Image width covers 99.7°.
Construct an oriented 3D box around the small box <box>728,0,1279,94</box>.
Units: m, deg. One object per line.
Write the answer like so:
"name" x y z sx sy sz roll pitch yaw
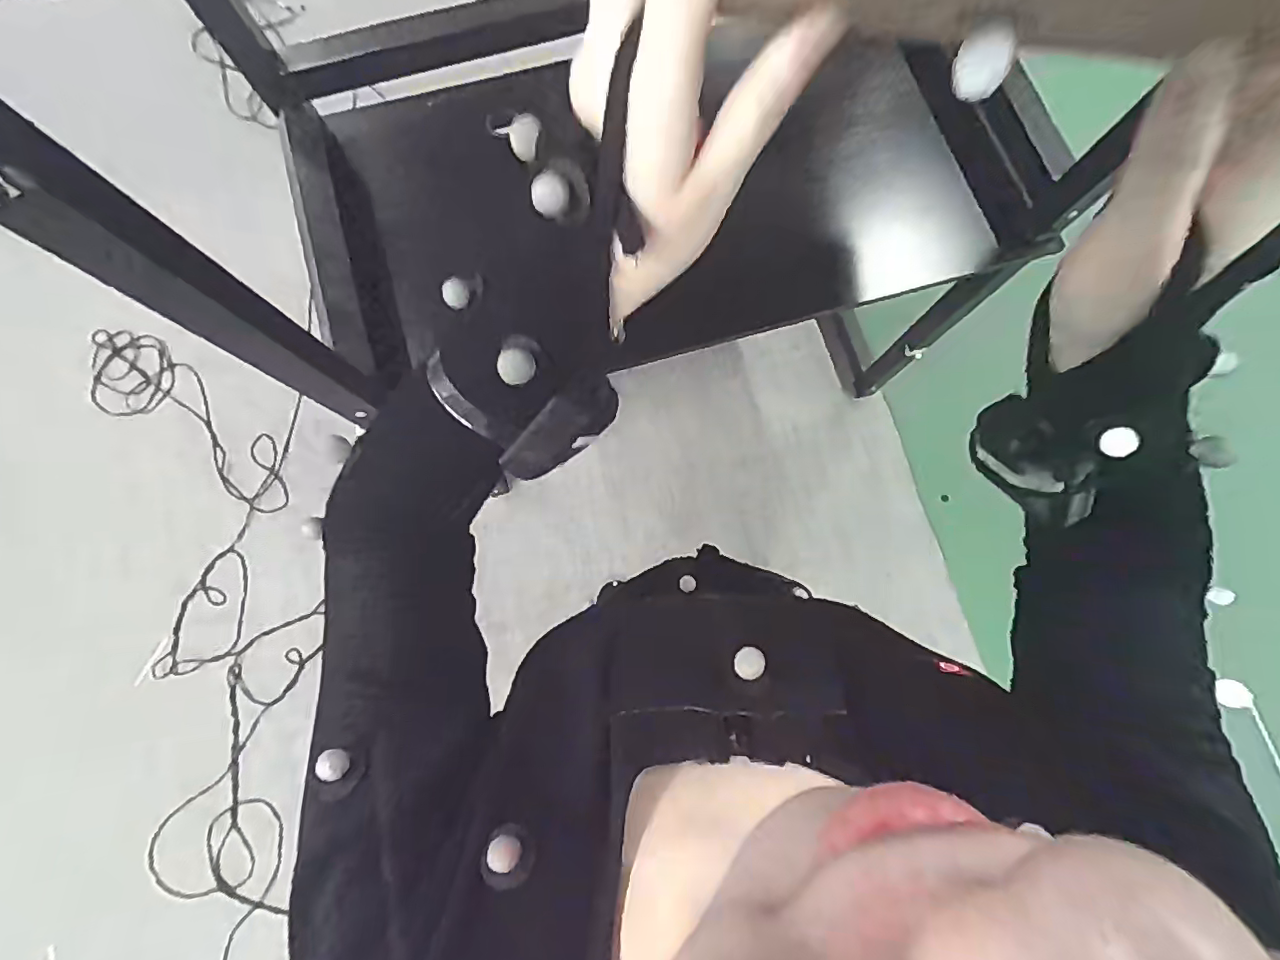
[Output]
"small box" 0.110 -0.178 0.085 0.168 0.176 0.179 6 124 0
